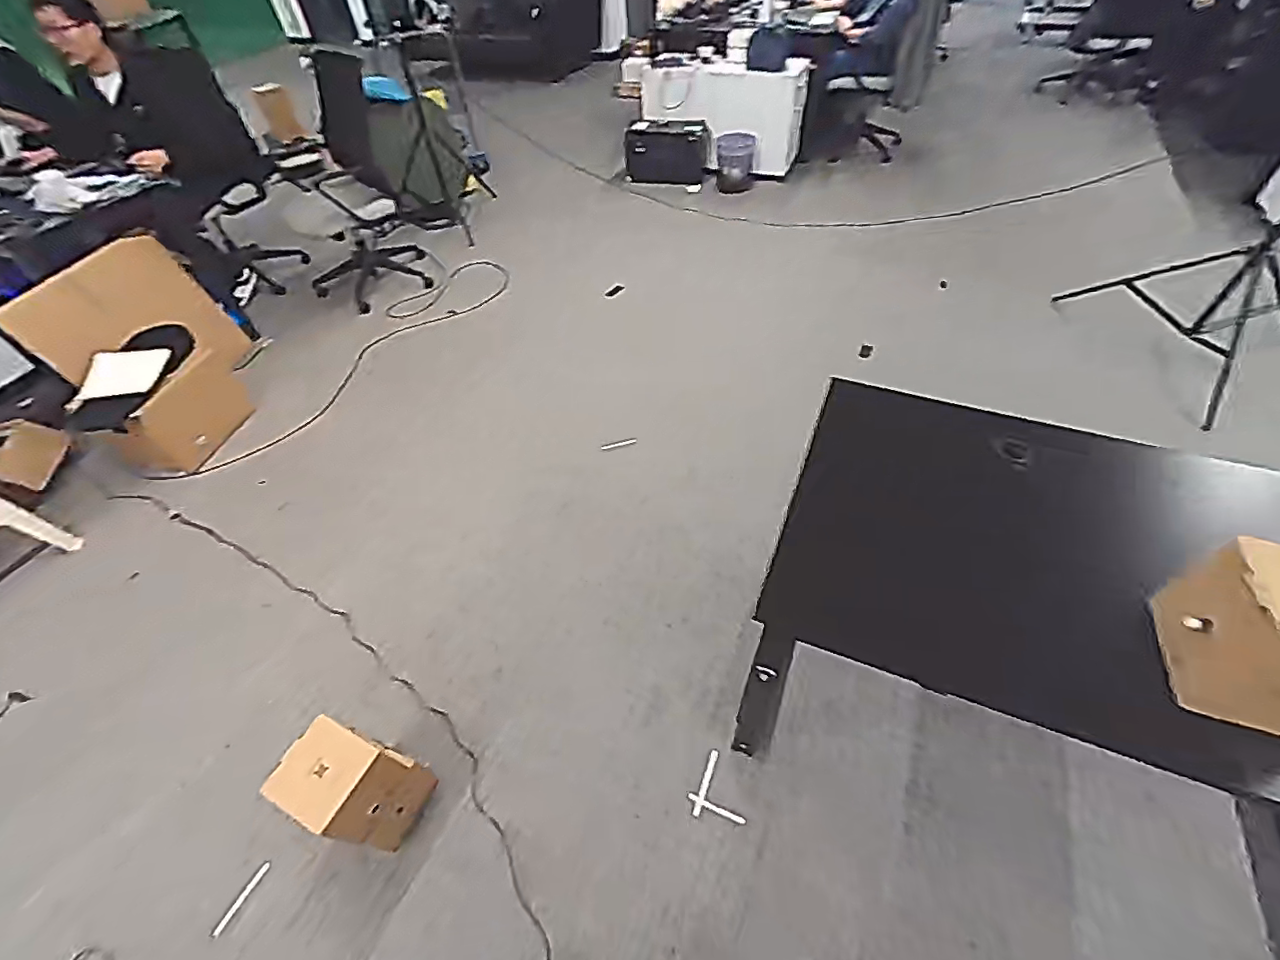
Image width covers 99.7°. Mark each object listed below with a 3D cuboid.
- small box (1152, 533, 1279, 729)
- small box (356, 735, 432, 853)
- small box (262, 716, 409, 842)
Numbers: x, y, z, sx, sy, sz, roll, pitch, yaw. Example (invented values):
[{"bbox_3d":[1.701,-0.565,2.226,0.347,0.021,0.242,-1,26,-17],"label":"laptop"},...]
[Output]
[{"bbox_3d":[0.791,0.194,0.670,0.179,0.176,0.168,12,50,15],"label":"small box"},{"bbox_3d":[-0.615,0.737,1.266,0.168,0.176,0.179,16,53,17],"label":"small box"},{"bbox_3d":[-0.631,0.635,1.141,0.179,0.176,0.168,18,54,18],"label":"small box"}]
